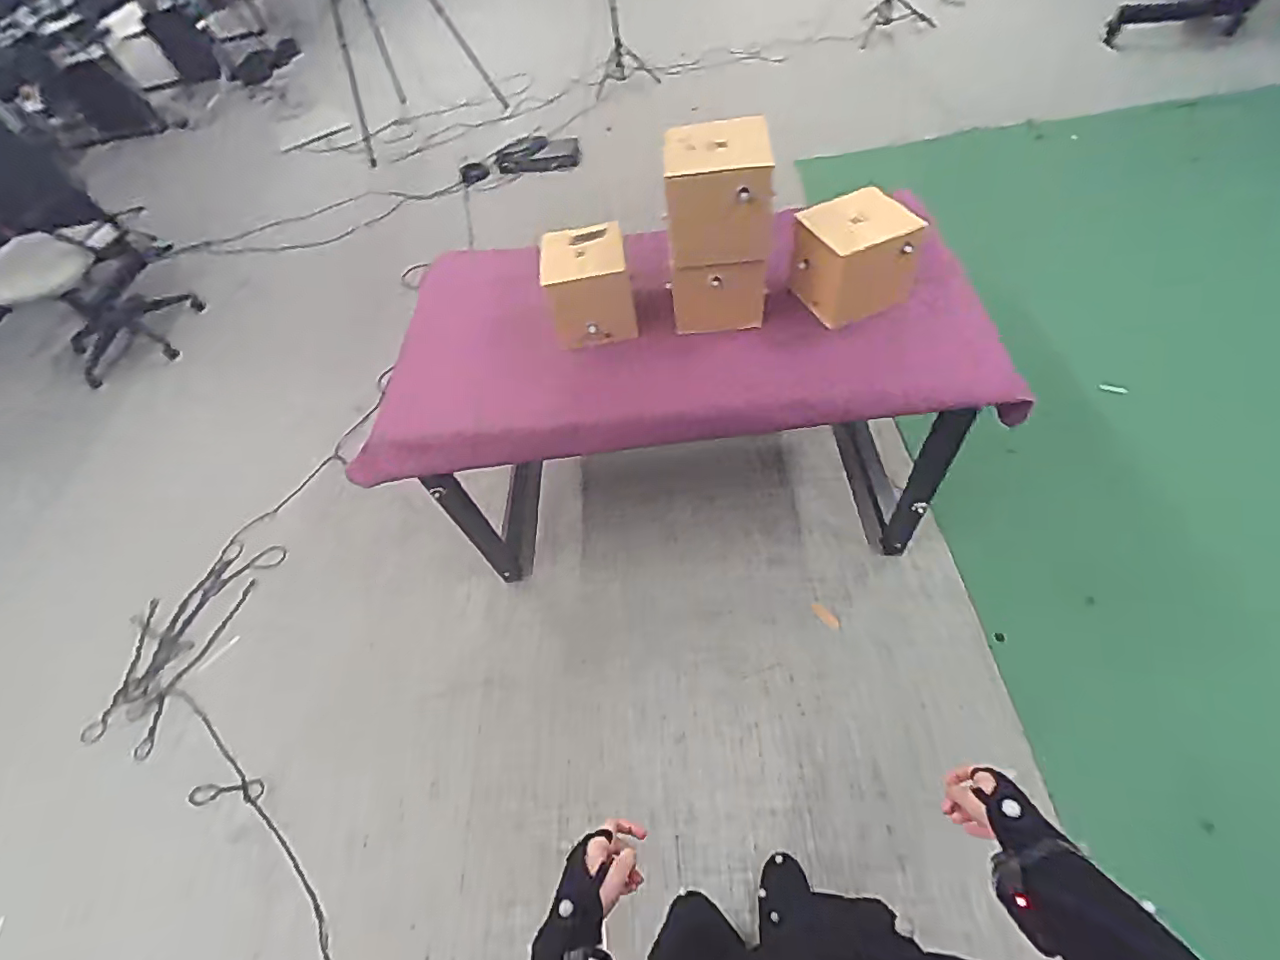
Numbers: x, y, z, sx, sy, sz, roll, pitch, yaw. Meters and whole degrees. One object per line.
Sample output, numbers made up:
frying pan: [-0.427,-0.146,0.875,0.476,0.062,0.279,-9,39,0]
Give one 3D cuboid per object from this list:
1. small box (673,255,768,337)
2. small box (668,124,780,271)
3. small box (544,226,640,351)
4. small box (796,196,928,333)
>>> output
small box: [0.163,-0.406,1.095,0.179,0.176,0.168,-1,56,8]
small box: [0.147,-0.493,0.956,0.179,0.176,0.168,-1,55,9]
small box: [-0.095,-0.395,1.127,0.168,0.176,0.179,-8,55,4]
small box: [0.420,-0.416,1.060,0.179,0.176,0.168,-21,54,-5]
